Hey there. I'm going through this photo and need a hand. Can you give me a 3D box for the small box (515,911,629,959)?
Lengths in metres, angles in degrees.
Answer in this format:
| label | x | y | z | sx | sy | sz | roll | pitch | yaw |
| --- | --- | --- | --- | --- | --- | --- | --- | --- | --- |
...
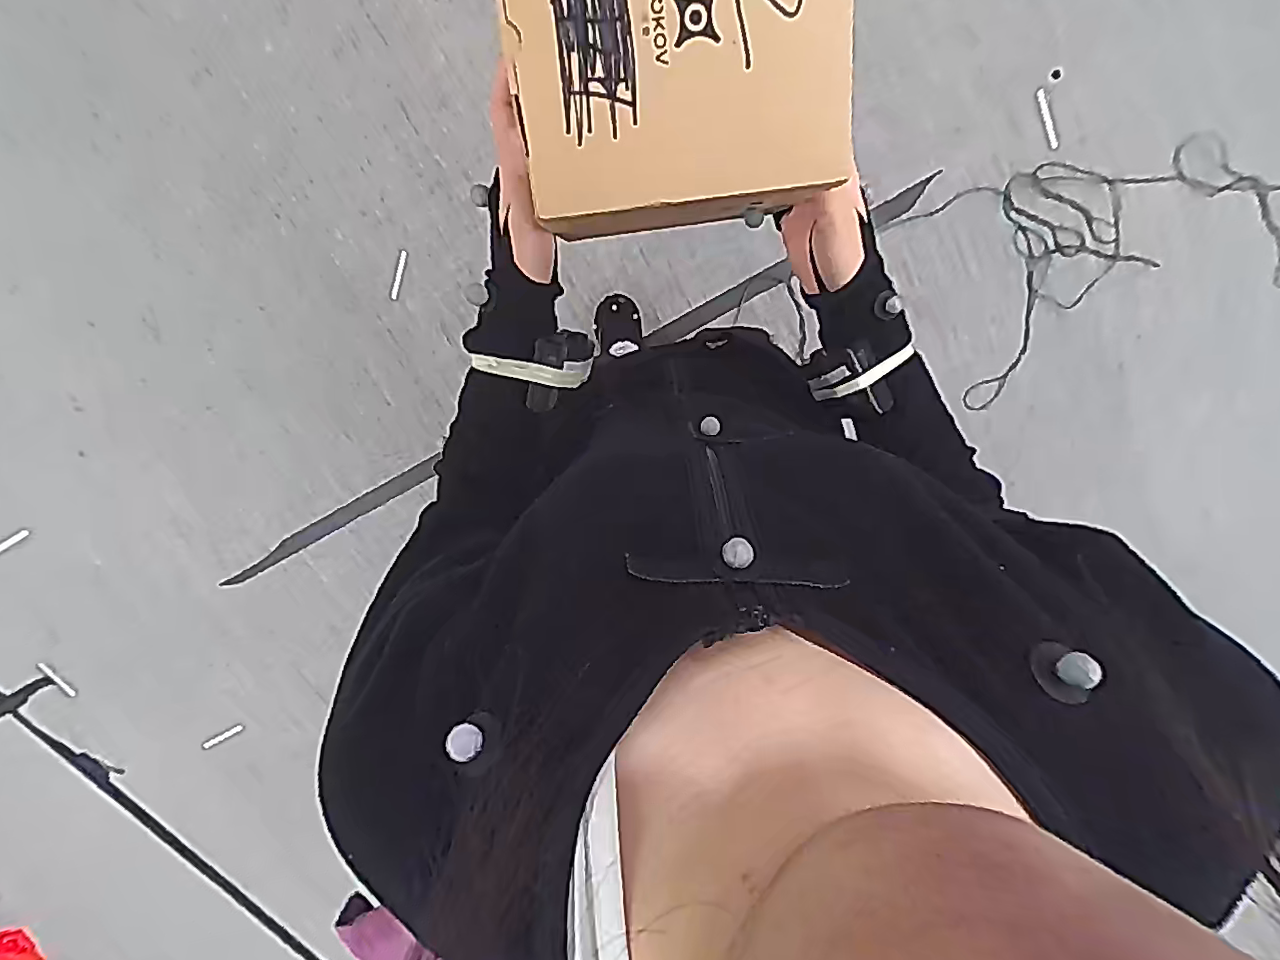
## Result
| label | x | y | z | sx | sy | sz | roll | pitch | yaw |
| --- | --- | --- | --- | --- | --- | --- | --- | --- | --- |
| small box | -0.117 | 0.918 | 0.950 | 0.168 | 0.176 | 0.179 | -26 | 106 | 5 |
